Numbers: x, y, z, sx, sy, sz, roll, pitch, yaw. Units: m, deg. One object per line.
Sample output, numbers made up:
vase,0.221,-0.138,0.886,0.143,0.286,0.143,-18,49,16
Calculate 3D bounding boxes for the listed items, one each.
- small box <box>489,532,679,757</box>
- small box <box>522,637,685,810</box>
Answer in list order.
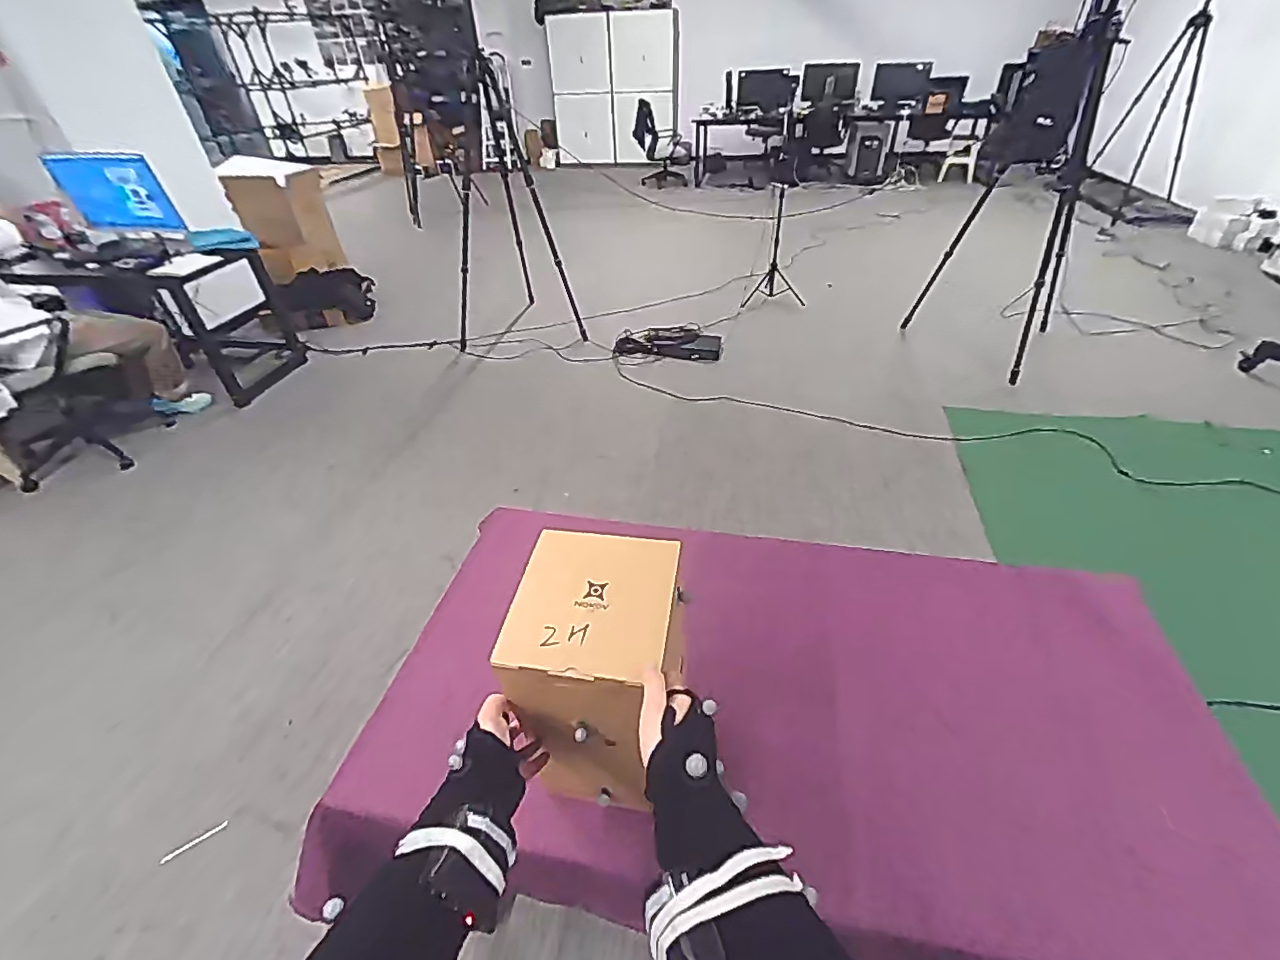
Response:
small box,-0.047,0.184,0.617,0.168,0.176,0.179,4,44,10
small box,-0.038,0.317,0.727,0.179,0.176,0.168,5,39,8
